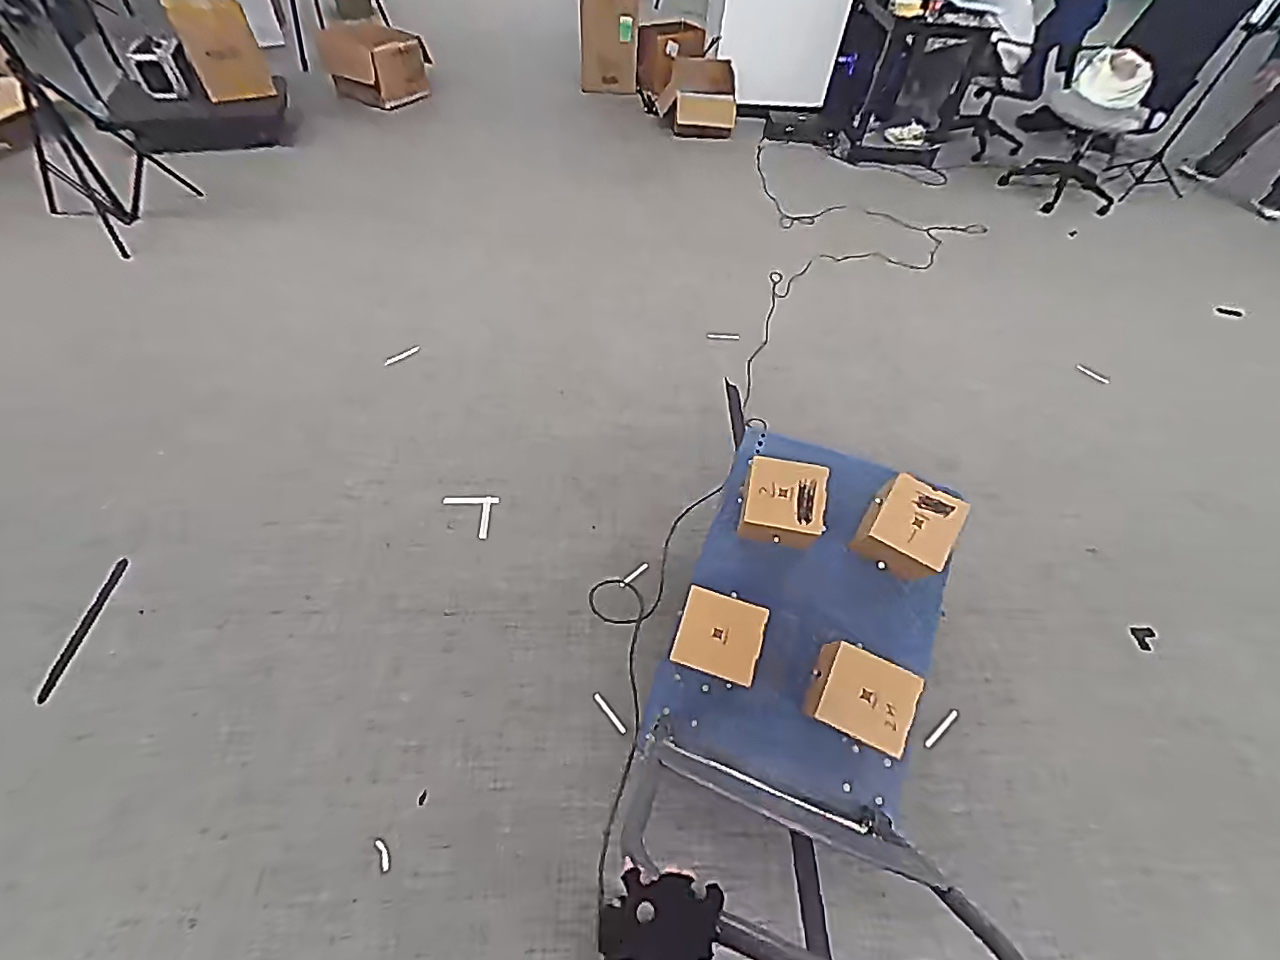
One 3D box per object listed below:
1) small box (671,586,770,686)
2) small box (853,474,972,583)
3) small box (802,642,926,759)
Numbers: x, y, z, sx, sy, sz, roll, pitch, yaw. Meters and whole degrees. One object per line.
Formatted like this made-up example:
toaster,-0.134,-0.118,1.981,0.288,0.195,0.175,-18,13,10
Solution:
small box,0.175,0.354,1.217,0.179,0.176,0.168,17,73,8
small box,0.626,0.118,1.264,0.168,0.176,0.179,30,77,14
small box,0.467,0.464,1.154,0.179,0.176,0.168,24,75,12
